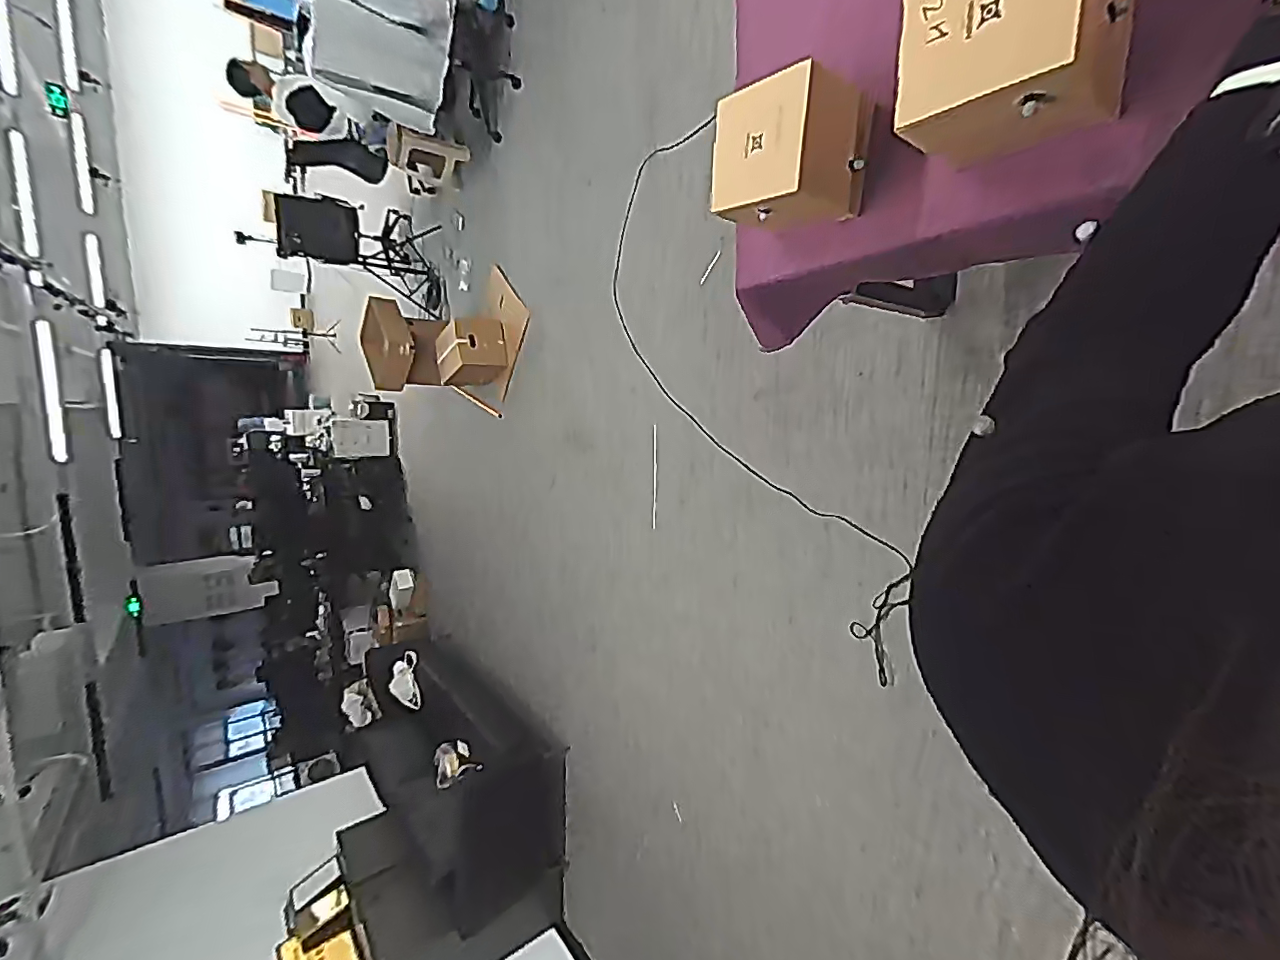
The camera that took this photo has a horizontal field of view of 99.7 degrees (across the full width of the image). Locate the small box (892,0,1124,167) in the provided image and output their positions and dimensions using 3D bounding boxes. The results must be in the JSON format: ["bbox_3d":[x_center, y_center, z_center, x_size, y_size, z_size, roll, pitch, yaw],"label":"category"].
[{"bbox_3d":[0.419,-0.489,0.616,0.179,0.176,0.168,12,103,51],"label":"small box"}]

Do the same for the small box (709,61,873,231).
[{"bbox_3d":[0.234,-0.505,0.853,0.179,0.176,0.168,18,109,49],"label":"small box"}]
